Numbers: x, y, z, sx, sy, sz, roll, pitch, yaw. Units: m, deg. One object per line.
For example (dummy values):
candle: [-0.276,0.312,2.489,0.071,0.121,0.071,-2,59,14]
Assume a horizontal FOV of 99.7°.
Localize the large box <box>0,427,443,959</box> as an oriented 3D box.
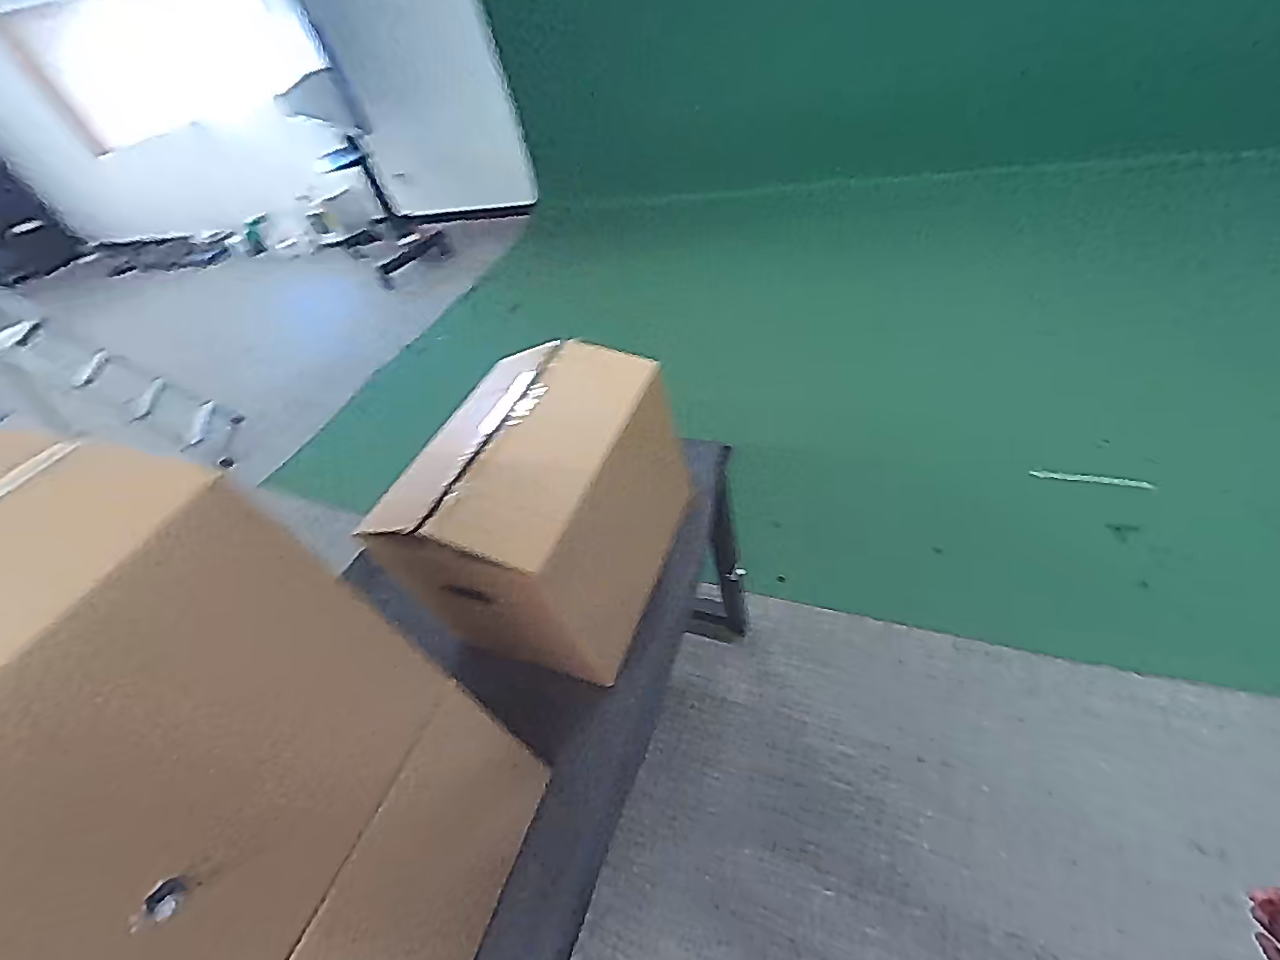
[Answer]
large box: [-0.425,0.220,0.382,0.320,0.320,0.408,8,51,23]
